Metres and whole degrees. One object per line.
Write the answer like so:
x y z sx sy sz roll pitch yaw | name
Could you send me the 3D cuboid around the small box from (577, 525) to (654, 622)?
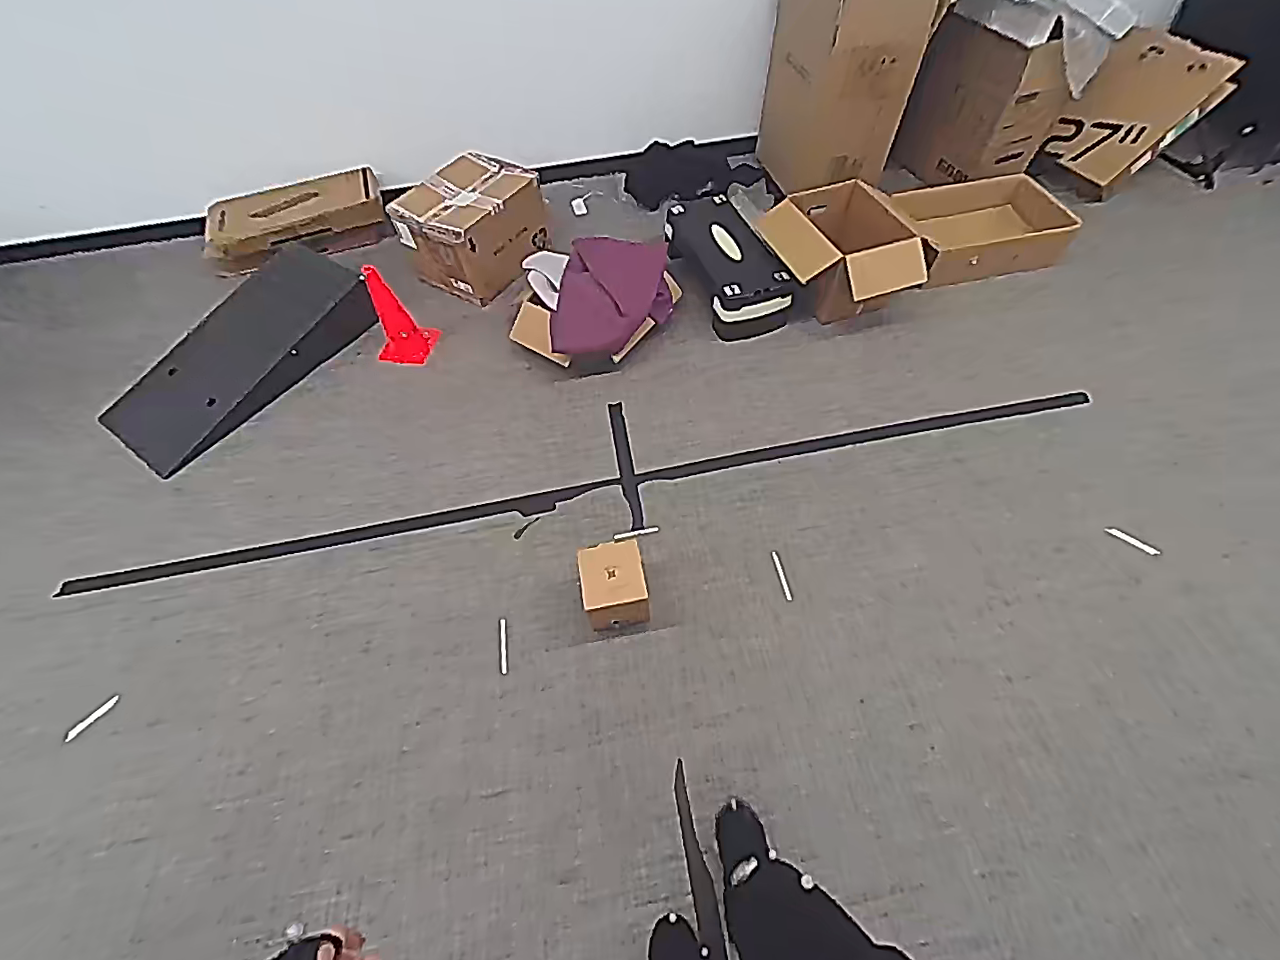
-0.061 0.243 1.389 0.168 0.176 0.179 -12 58 -3 | small box
